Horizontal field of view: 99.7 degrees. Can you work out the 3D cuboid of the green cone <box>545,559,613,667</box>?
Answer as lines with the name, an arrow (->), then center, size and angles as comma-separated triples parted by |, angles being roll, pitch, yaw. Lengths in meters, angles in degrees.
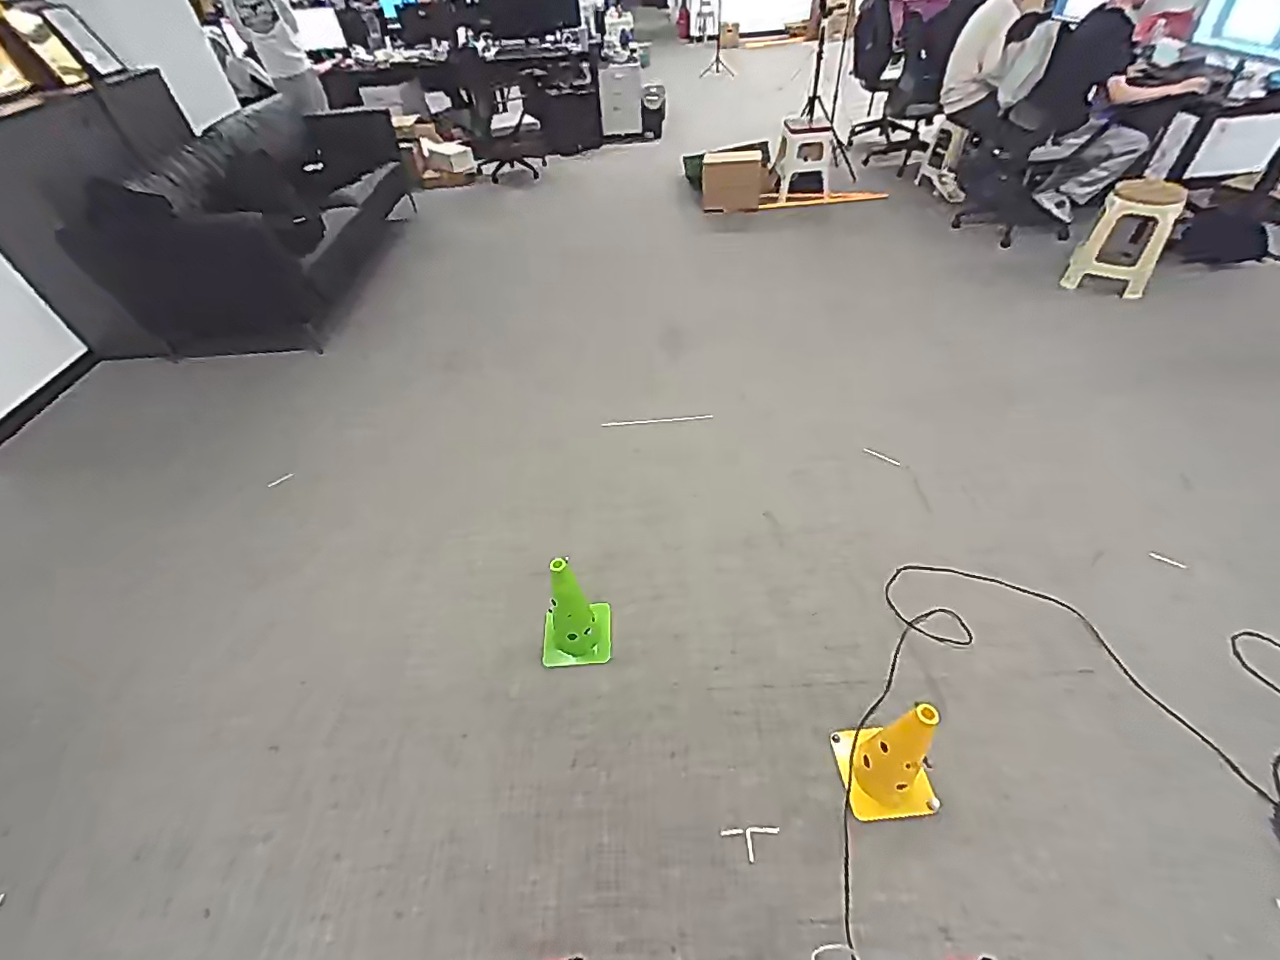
green cone -> -0.192, 0.348, 1.512 | 0.202, 0.368, 0.200 | -4, 46, 0

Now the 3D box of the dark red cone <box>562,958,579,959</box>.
dark red cone -> -0.204, 0.933, 0.899 | 0.202, 0.394, 0.201 | -8, 47, -2
